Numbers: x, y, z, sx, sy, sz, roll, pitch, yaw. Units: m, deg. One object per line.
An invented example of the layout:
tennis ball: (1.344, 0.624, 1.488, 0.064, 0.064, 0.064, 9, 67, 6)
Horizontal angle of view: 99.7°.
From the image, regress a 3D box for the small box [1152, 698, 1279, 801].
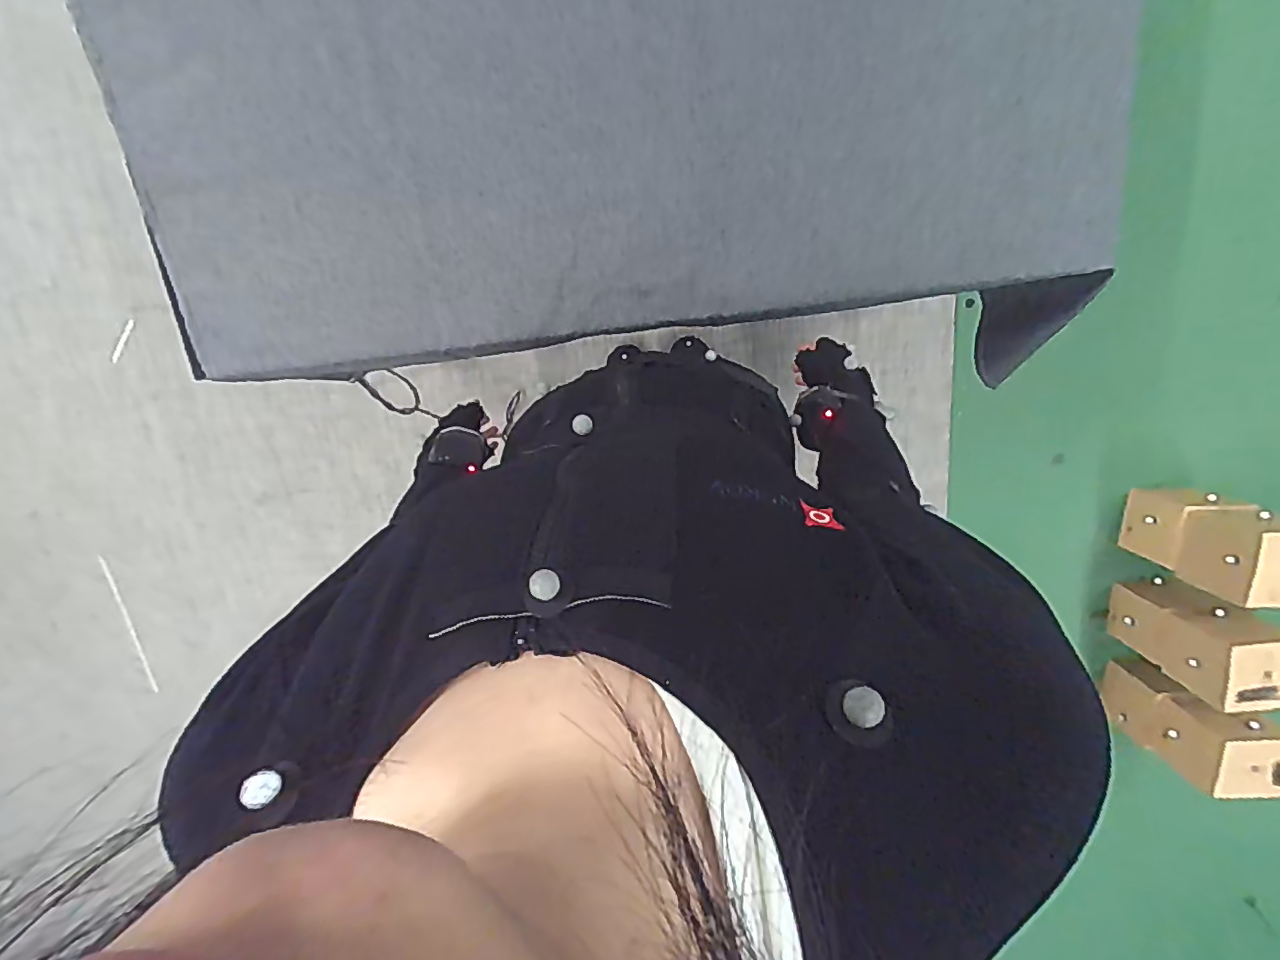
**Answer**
small box: (1.448, 0.664, 1.346, 0.179, 0.176, 0.168, -4, 105, 4)

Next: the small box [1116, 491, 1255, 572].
small box: (1.376, 0.127, 1.379, 0.179, 0.176, 0.168, -1, 104, 3)

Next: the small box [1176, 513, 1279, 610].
small box: (1.379, 0.176, 1.221, 0.168, 0.176, 0.179, -1, 104, 3)

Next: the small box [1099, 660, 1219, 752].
small box: (1.431, 0.625, 1.505, 0.168, 0.176, 0.179, -2, 105, 3)
